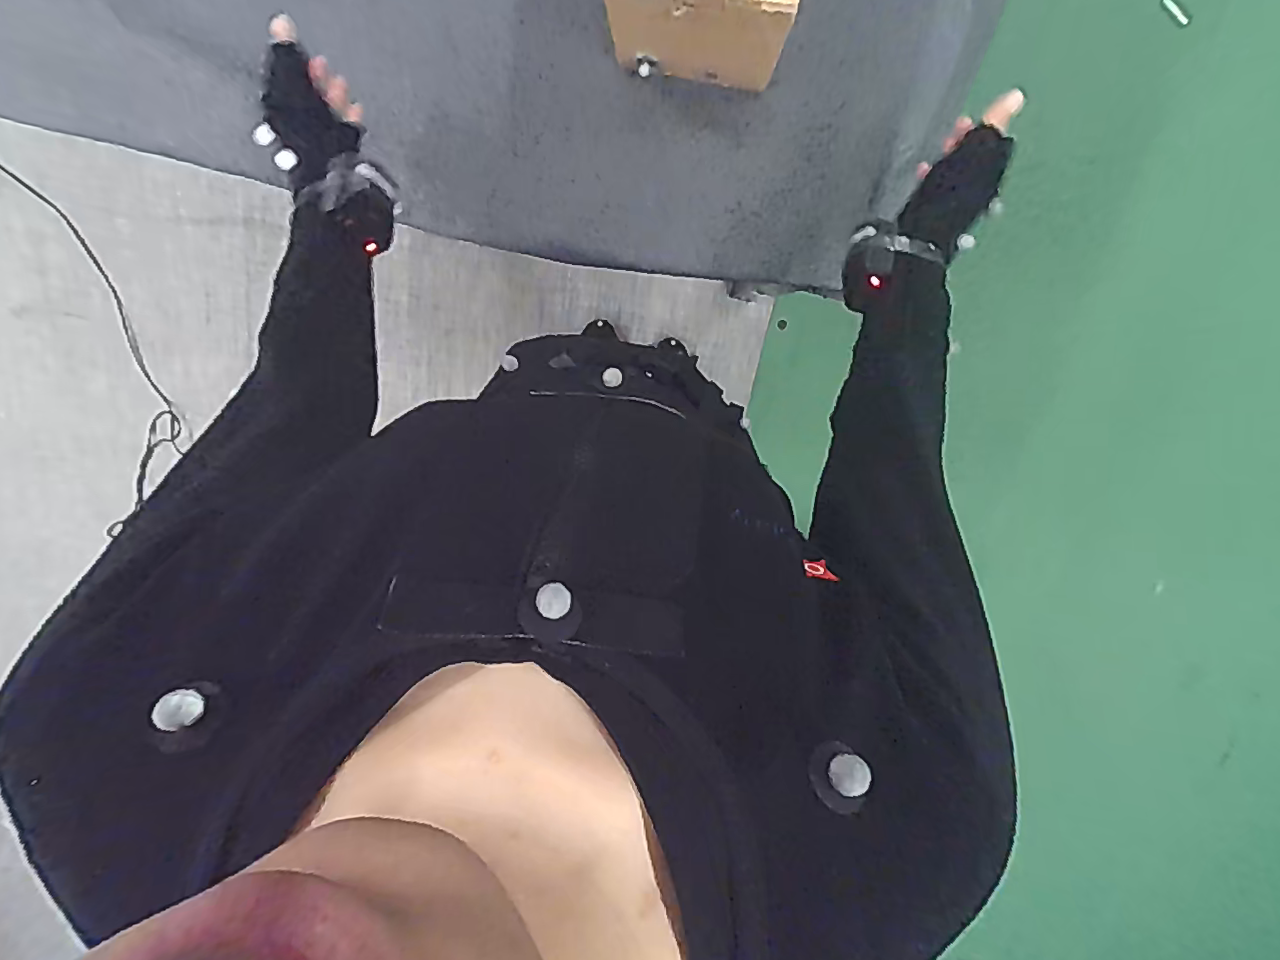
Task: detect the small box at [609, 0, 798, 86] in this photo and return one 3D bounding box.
[{"bbox_3d":[0.067,-0.496,0.489,0.168,0.176,0.179,10,106,0],"label":"small box"}]
